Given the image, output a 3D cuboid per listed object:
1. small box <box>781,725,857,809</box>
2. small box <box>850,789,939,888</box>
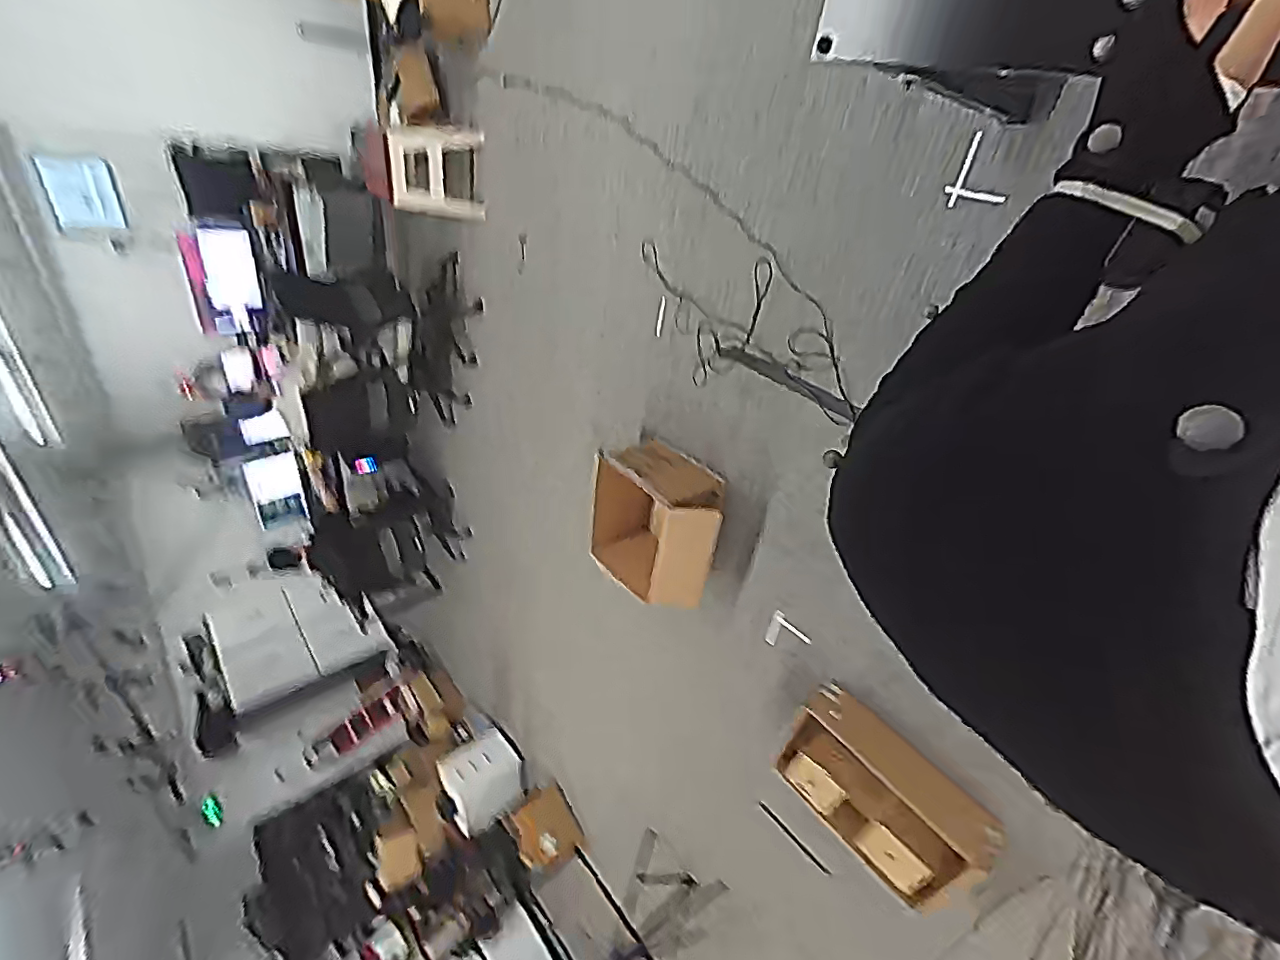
[{"bbox_3d":[0.639,1.013,1.920,0.168,0.176,0.179,41,131,31],"label":"small box"},{"bbox_3d":[0.829,1.156,1.754,0.179,0.176,0.168,41,131,35],"label":"small box"}]
